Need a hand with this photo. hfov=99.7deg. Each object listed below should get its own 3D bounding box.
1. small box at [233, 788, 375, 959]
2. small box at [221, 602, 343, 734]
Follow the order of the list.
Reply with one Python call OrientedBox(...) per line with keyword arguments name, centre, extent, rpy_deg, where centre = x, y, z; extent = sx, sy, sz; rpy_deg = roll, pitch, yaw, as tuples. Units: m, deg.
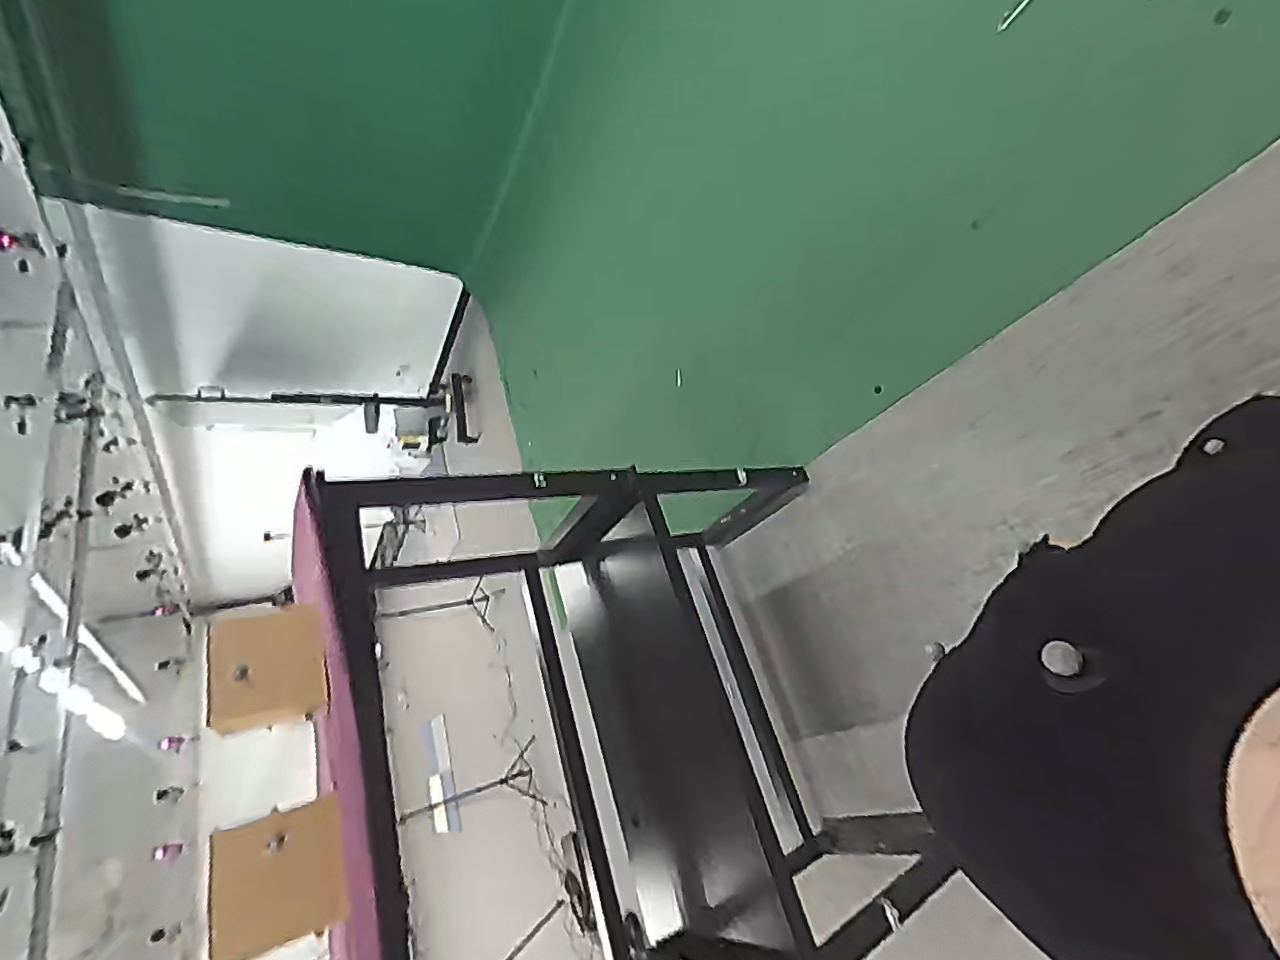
OrientedBox(name="small box", centre=(-0.532, 0.611, 0.857), extent=(0.168, 0.176, 0.179), rpy_deg=(-49, 56, 47))
OrientedBox(name="small box", centre=(-0.651, 0.344, 0.996), extent=(0.168, 0.176, 0.179), rpy_deg=(-46, 57, 50))
